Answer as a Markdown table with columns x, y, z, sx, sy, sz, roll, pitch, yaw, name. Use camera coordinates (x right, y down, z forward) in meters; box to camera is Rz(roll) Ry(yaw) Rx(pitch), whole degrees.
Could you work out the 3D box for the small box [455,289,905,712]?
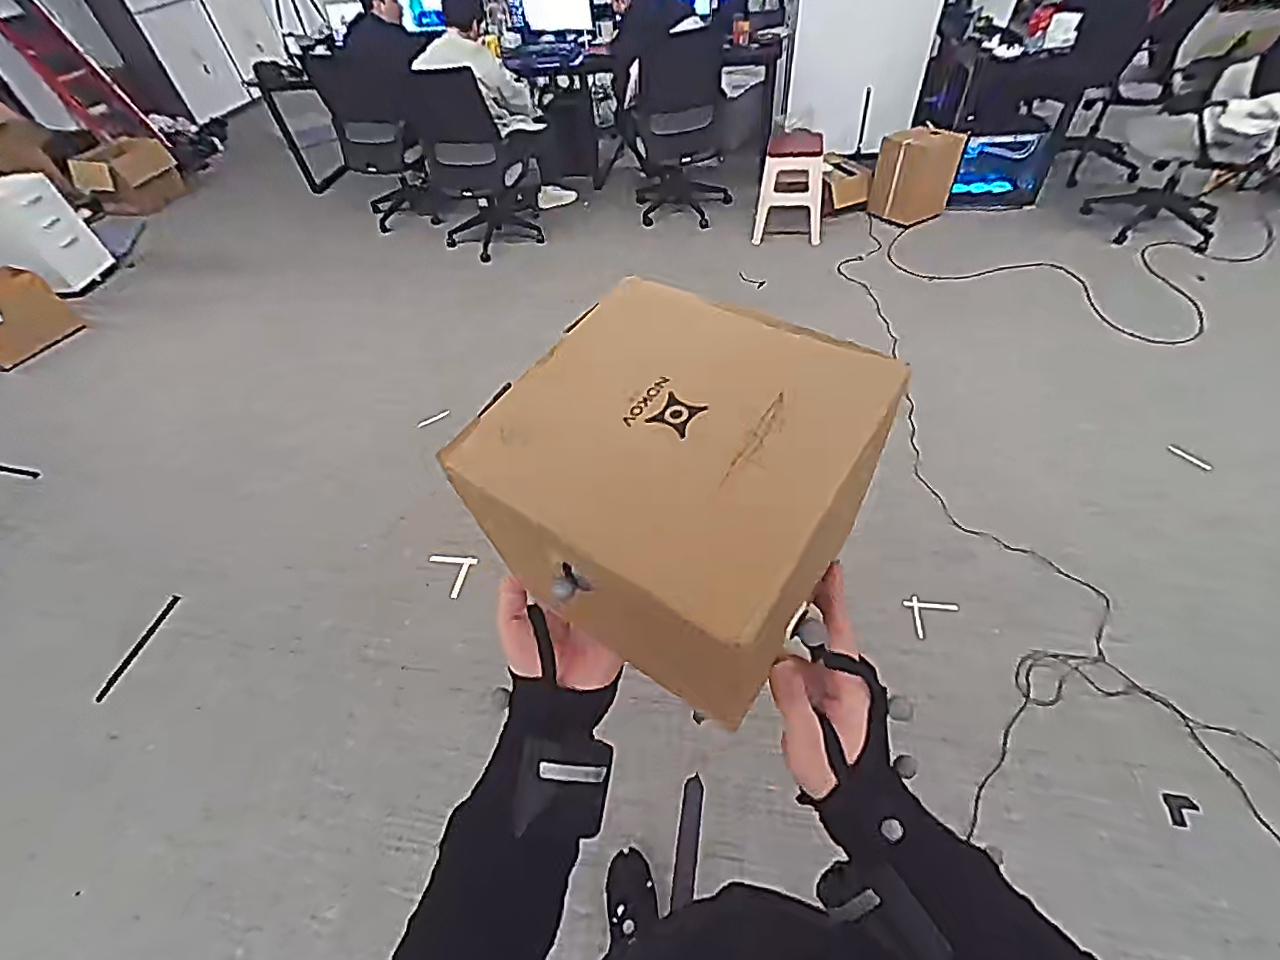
| x | y | z | sx | sy | sz | roll | pitch | yaw | name |
| --- | --- | --- | --- | --- | --- | --- | --- | --- | --- |
| 0.027 | 0.017 | 0.339 | 0.179 | 0.176 | 0.168 | 27 | 63 | 24 | small box |
